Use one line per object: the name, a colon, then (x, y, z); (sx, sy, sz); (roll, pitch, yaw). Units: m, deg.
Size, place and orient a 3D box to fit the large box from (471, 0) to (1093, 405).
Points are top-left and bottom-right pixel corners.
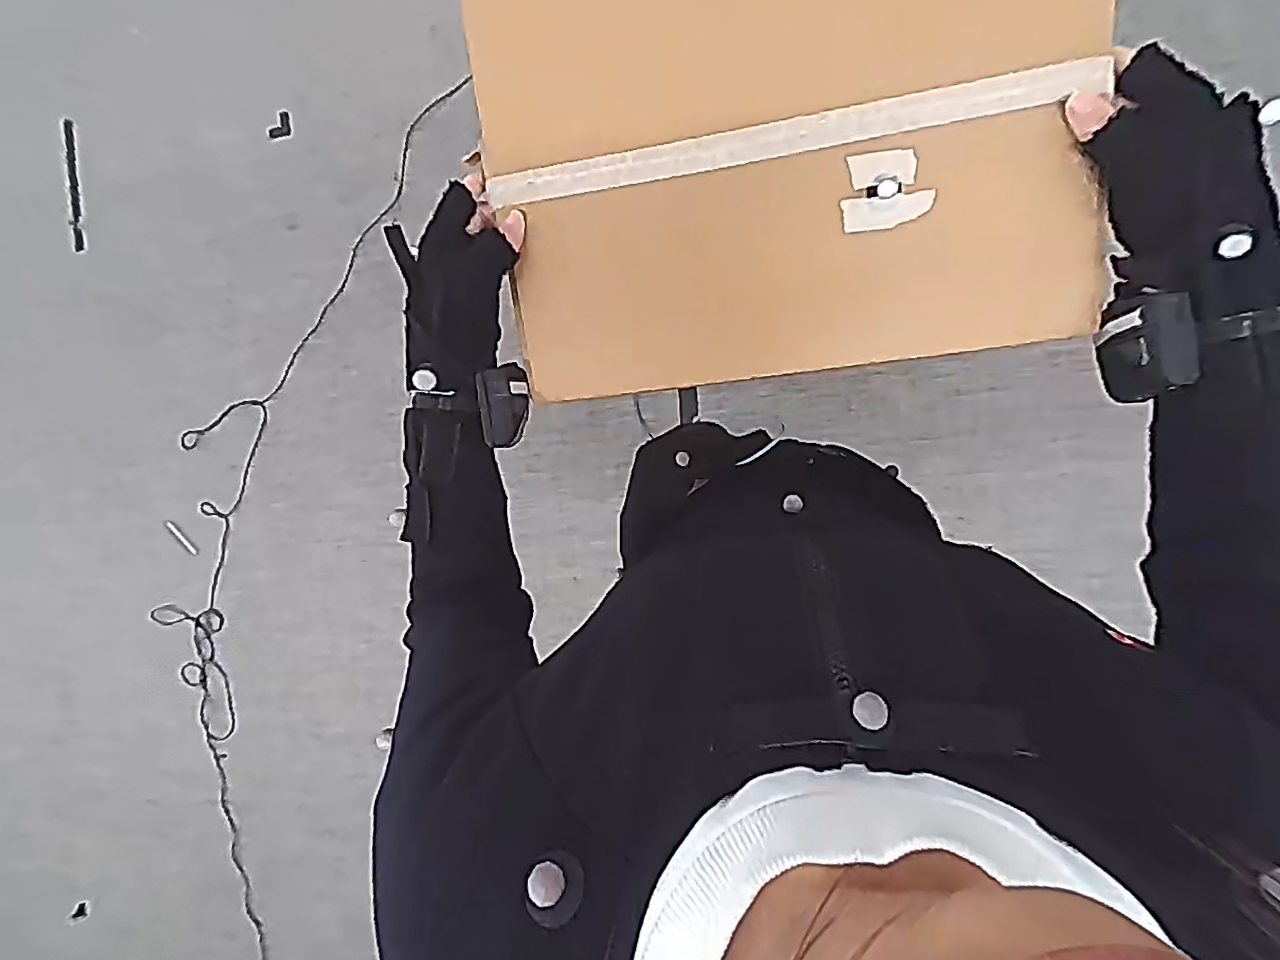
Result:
large box: (0.111, -0.266, 0.523); (0.408, 0.320, 0.320); (-7, 103, 8)
